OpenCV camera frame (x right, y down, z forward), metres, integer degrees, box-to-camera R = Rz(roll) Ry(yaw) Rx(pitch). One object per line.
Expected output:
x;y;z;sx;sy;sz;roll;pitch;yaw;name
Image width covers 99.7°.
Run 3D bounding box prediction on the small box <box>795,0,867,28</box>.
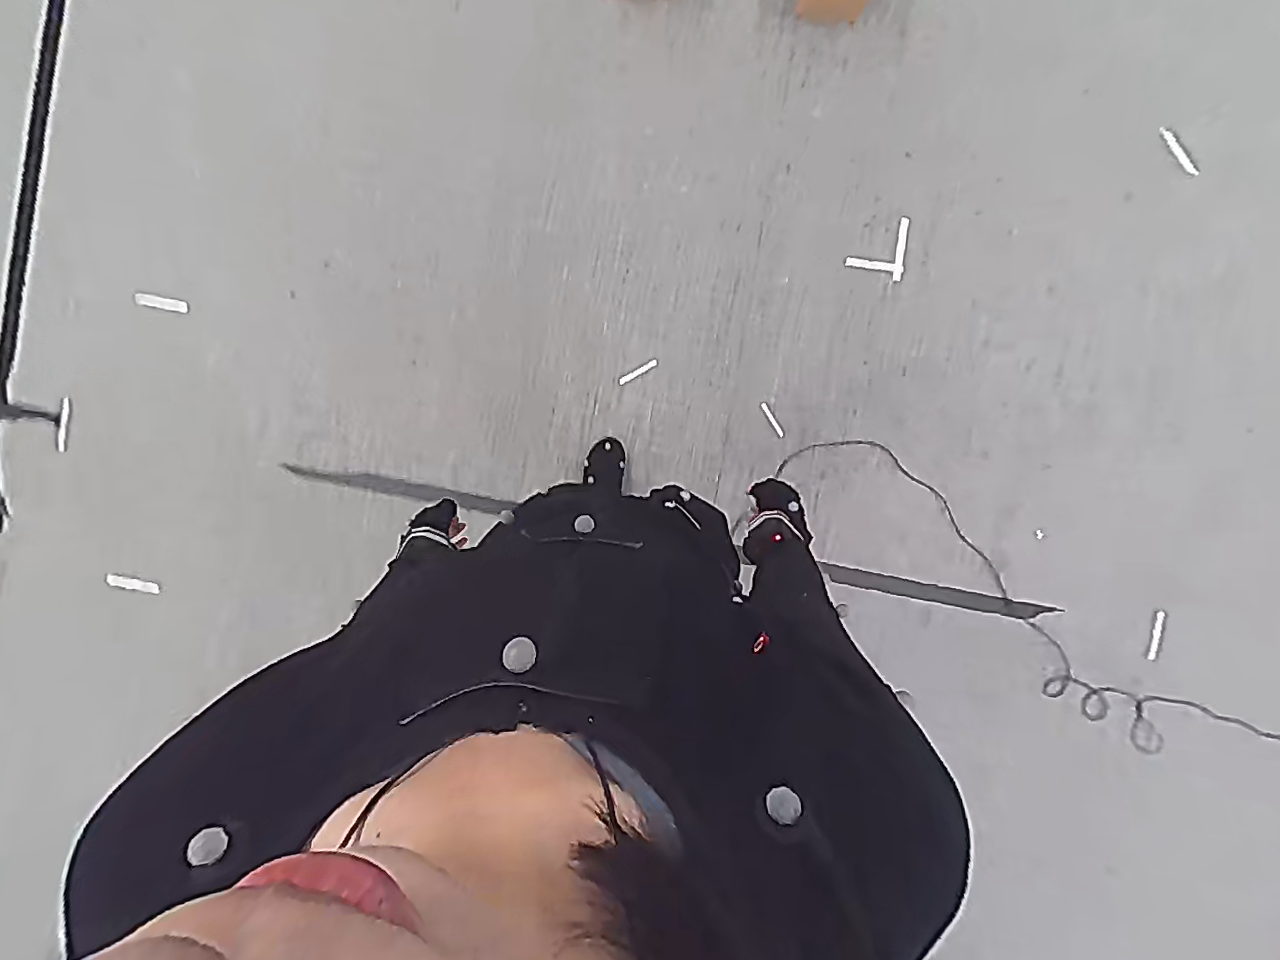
0.518;-1.330;1.408;0.179;0.176;0.168;8;93;0;small box
